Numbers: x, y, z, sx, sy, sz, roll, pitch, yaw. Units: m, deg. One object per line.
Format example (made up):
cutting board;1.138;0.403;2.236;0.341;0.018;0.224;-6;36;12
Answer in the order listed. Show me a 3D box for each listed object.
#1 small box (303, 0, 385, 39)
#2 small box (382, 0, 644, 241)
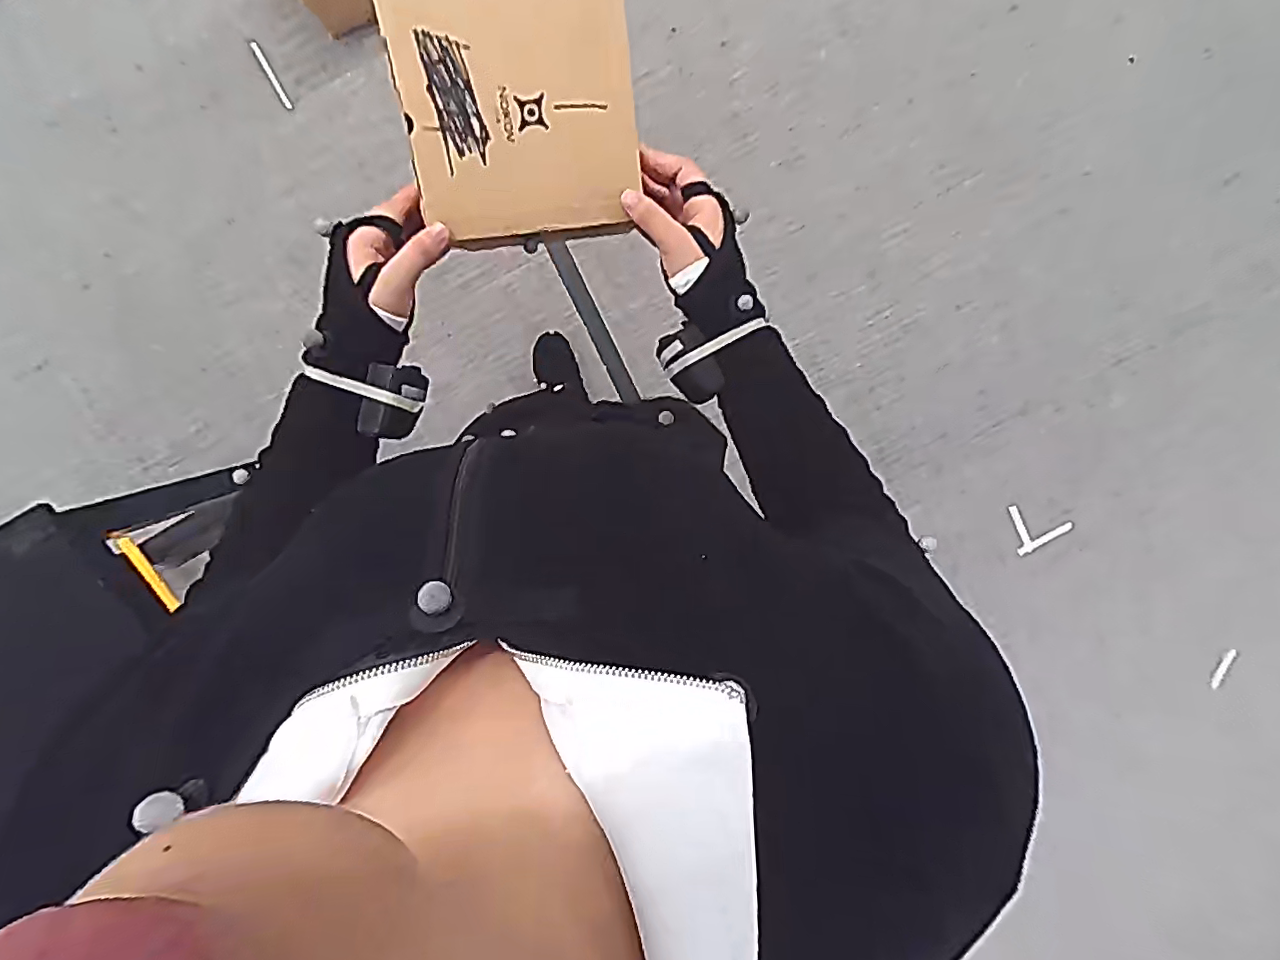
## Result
small box;-0.654;-1.105;1.154;0.179;0.176;0.168;-26;101;2
small box;-0.097;-0.313;0.483;0.179;0.176;0.168;-8;112;-4
